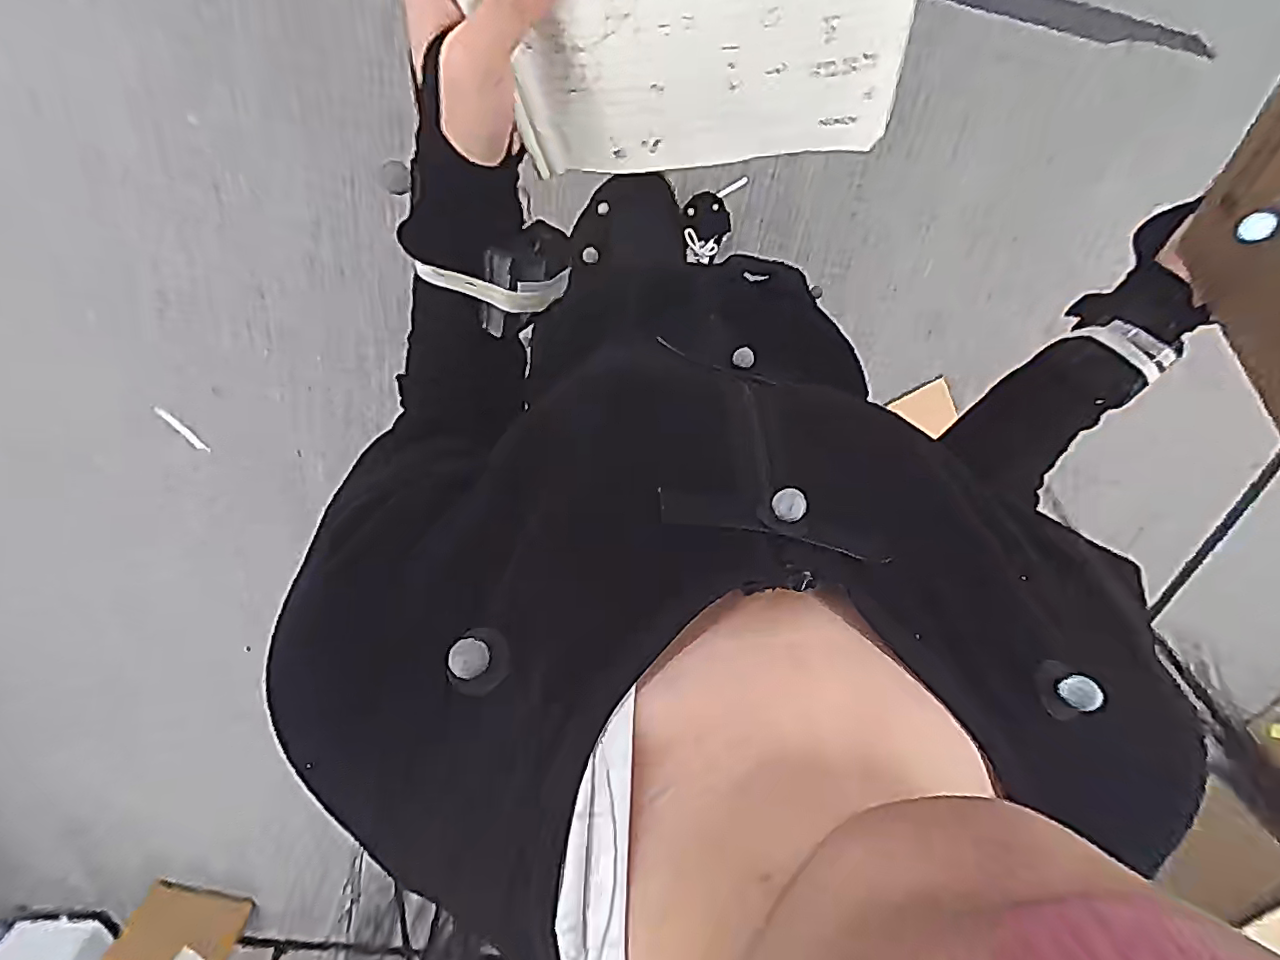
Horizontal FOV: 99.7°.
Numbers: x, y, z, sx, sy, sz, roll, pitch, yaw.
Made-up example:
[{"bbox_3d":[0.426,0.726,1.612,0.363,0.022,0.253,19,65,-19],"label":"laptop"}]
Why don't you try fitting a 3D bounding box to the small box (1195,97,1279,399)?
[{"bbox_3d":[0.436,-0.139,0.252,0.179,0.176,0.168,-12,156,21],"label":"small box"}]
